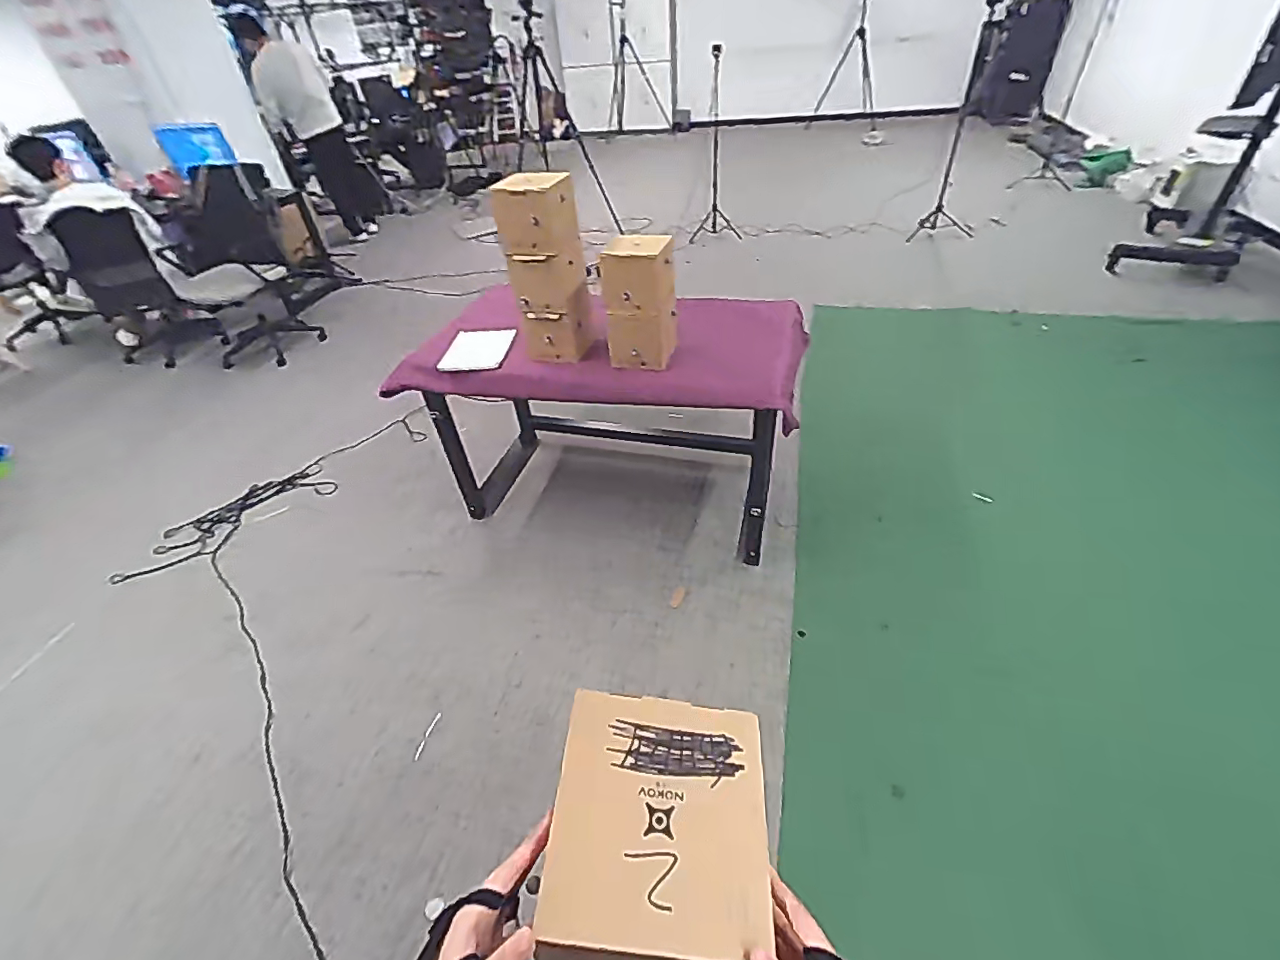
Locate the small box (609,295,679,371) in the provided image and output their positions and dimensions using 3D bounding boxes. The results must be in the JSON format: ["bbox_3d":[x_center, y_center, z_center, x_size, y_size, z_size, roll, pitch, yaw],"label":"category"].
[{"bbox_3d":[0.018,-0.448,1.627,0.168,0.176,0.179,8,42,16],"label":"small box"}]

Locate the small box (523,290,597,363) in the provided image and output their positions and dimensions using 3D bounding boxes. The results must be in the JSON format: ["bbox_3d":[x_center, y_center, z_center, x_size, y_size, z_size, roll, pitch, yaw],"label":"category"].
[{"bbox_3d":[-0.244,-0.486,1.704,0.168,0.176,0.179,8,43,15],"label":"small box"}]

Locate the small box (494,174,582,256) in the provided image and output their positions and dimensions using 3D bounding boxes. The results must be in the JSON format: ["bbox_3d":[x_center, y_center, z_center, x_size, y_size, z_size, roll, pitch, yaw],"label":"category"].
[{"bbox_3d":[-0.270,-0.727,1.483,0.168,0.176,0.179,9,42,15],"label":"small box"}]

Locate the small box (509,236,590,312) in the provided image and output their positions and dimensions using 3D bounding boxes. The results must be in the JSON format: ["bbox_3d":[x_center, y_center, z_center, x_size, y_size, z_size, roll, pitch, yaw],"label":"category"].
[{"bbox_3d":[-0.257,-0.607,1.592,0.168,0.176,0.179,8,41,15],"label":"small box"}]

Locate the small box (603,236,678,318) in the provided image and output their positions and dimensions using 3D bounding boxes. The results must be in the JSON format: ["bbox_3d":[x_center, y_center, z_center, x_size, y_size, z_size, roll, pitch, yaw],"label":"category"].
[{"bbox_3d":[0.007,-0.576,1.528,0.168,0.176,0.179,8,42,15],"label":"small box"}]
